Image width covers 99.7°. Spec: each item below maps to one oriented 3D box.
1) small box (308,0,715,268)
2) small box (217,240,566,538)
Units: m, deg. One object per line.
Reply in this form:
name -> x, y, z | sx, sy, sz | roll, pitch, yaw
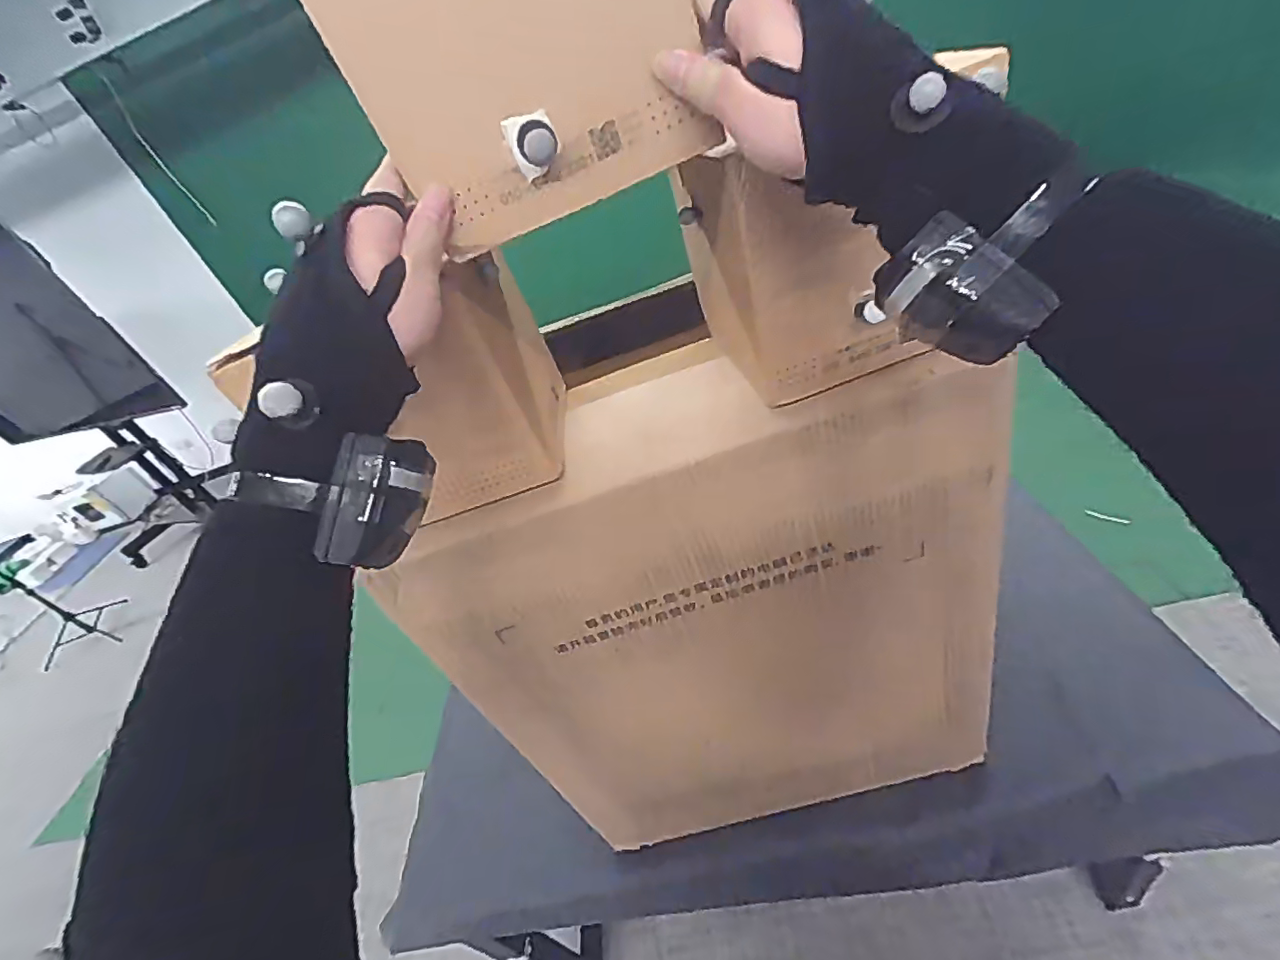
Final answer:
small box -> -0.071, -0.251, 0.328 | 0.168, 0.176, 0.179 | -24, 35, 5
small box -> -0.178, -0.077, 0.452 | 0.179, 0.176, 0.168 | -19, 36, 7
